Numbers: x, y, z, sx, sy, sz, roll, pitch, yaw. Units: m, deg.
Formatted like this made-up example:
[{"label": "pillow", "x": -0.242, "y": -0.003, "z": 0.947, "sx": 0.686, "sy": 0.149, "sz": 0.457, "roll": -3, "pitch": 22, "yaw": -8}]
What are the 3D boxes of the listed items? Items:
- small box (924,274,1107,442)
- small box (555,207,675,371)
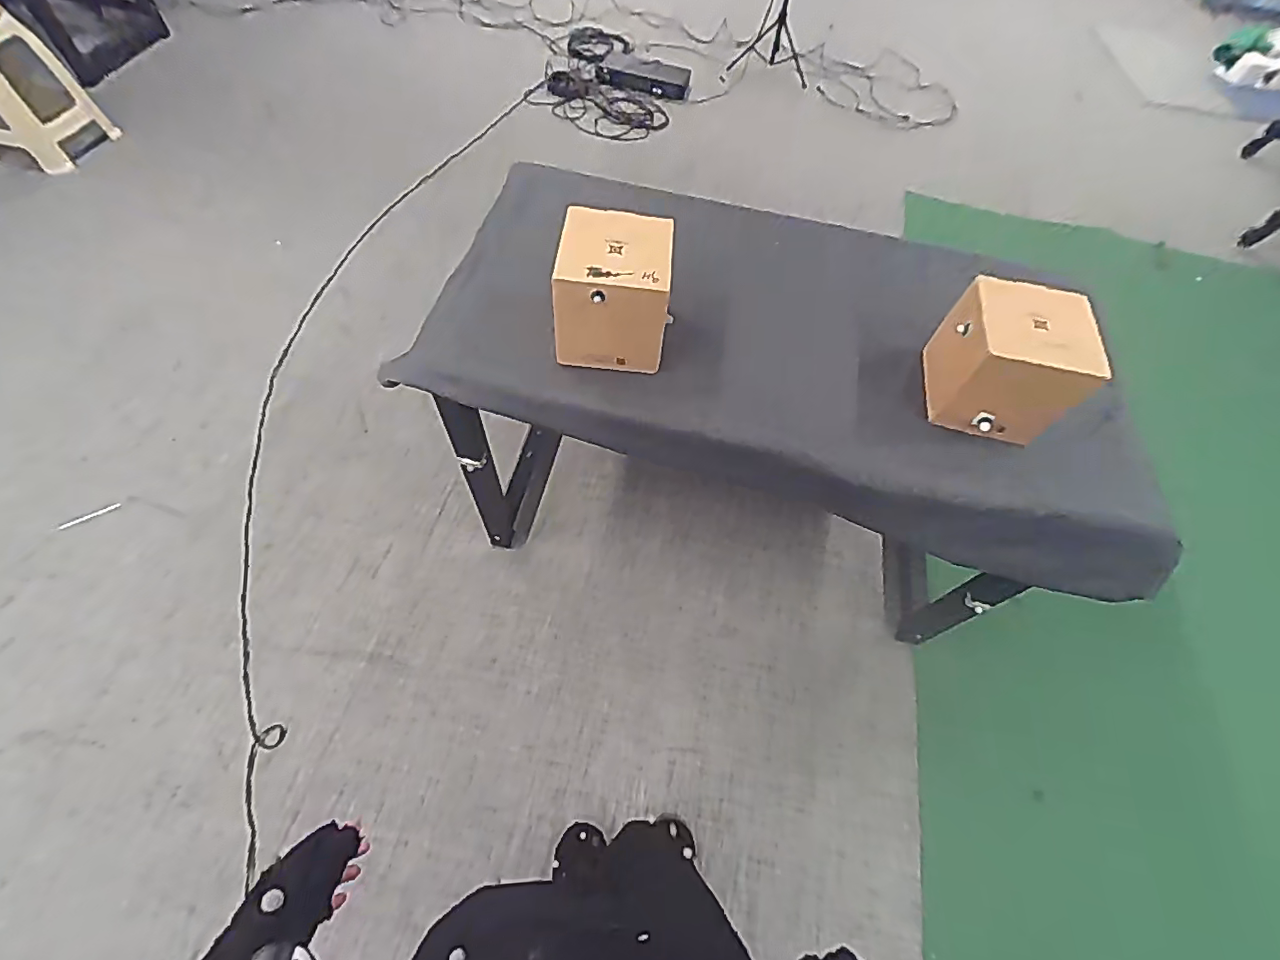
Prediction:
[{"label": "small box", "x": 0.570, "y": -0.188, "z": 0.852, "sx": 0.168, "sy": 0.176, "sz": 0.179, "roll": 12, "pitch": 60, "yaw": 4}, {"label": "small box", "x": -0.038, "y": -0.301, "z": 0.862, "sx": 0.168, "sy": 0.176, "sz": 0.179, "roll": 5, "pitch": 57, "yaw": -1}]
